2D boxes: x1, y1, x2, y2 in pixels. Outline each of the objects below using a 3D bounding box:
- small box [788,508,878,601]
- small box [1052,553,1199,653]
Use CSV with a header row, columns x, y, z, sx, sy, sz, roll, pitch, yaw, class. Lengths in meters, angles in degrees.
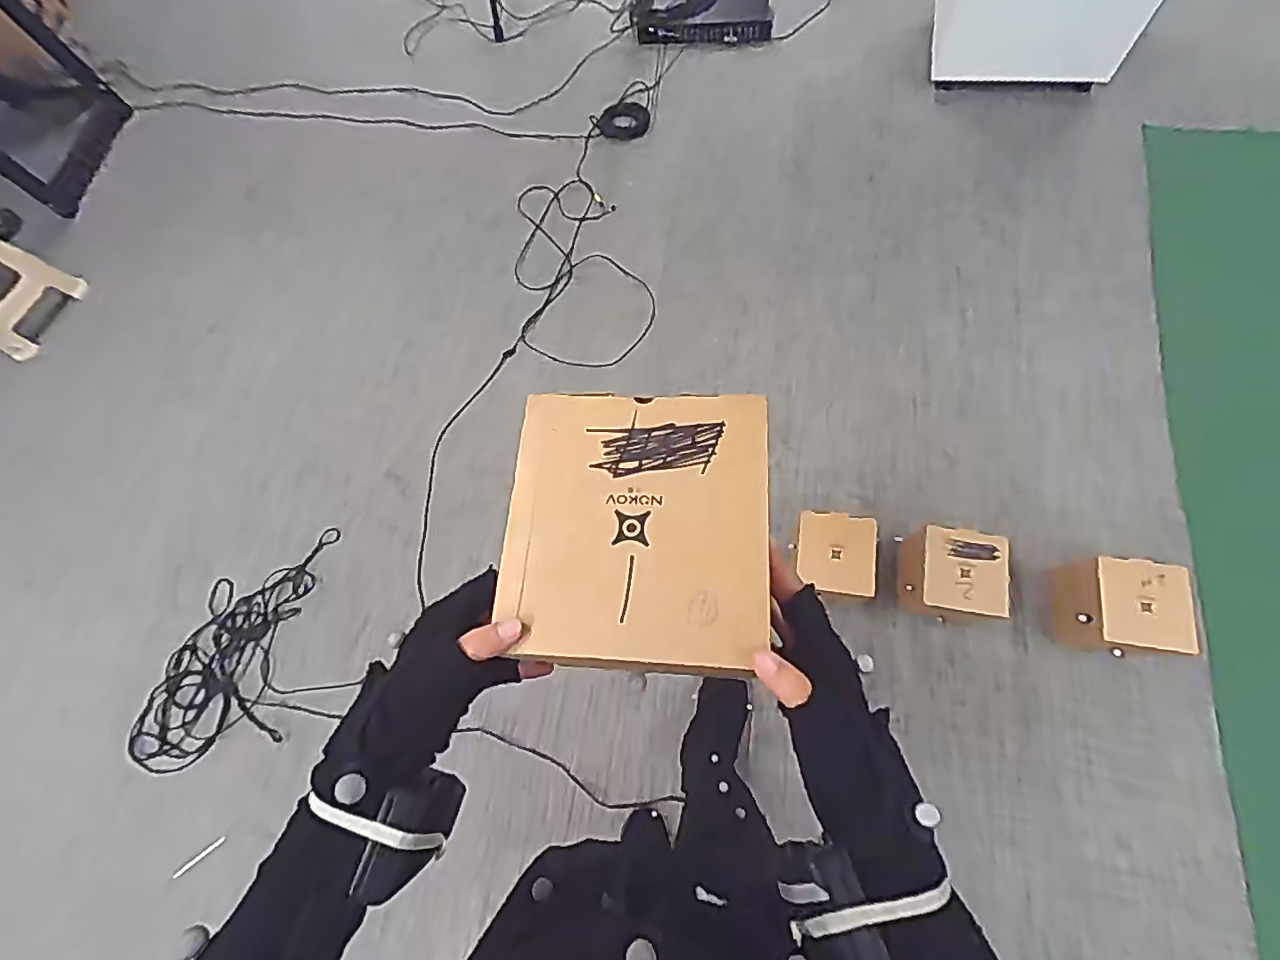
x,y,z,sx,sy,sz,roll,pitch,yaw,class
0.441,0.178,1.253,0.168,0.176,0.179,6,72,10,small box
1.015,0.266,1.147,0.168,0.176,0.179,7,73,9,small box
